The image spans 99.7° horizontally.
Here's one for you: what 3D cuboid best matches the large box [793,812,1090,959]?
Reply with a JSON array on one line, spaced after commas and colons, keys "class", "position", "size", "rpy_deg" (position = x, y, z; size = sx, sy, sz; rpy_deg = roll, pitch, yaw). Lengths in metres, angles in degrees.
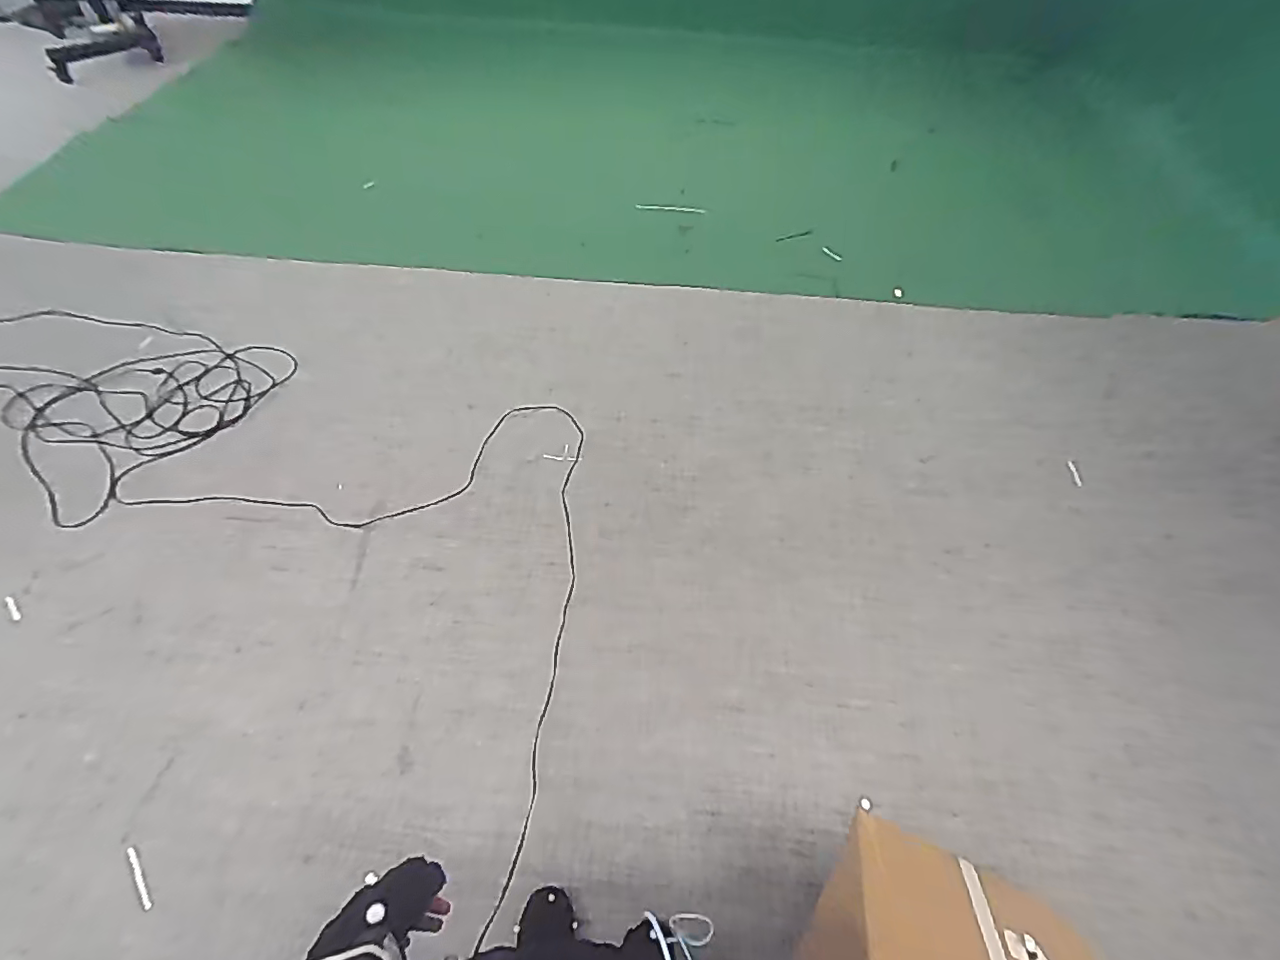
[{"class": "large box", "position": [0.367, 0.723, 0.646], "size": [0.320, 0.408, 0.320], "rpy_deg": [22, 99, 17]}]
